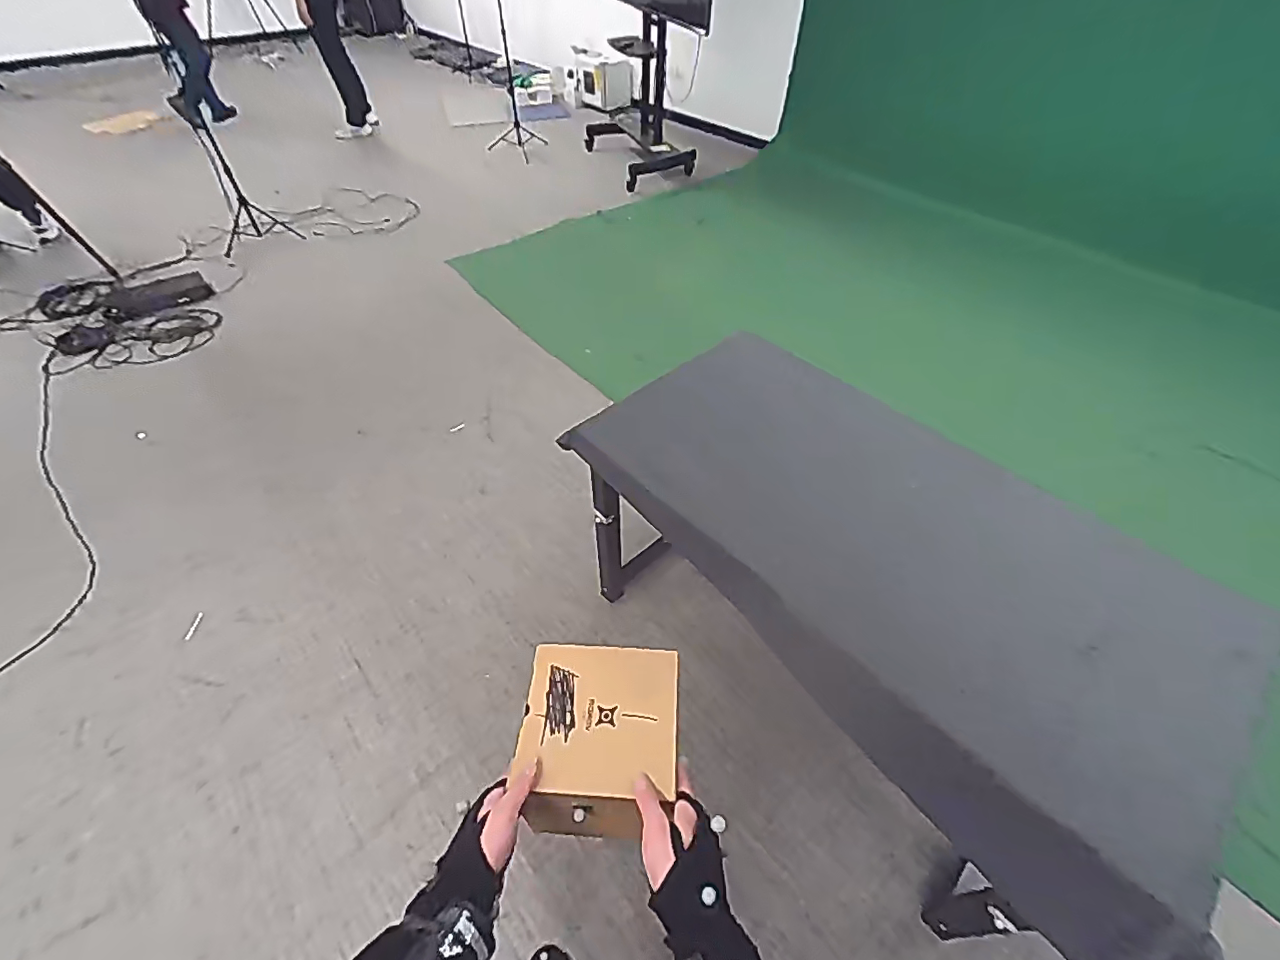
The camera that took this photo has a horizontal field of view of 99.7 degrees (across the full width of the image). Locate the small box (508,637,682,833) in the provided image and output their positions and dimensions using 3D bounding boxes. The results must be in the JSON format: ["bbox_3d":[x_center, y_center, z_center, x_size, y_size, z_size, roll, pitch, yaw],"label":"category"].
[{"bbox_3d":[-0.042,0.309,0.653,0.179,0.176,0.168,3,46,3],"label":"small box"}]
